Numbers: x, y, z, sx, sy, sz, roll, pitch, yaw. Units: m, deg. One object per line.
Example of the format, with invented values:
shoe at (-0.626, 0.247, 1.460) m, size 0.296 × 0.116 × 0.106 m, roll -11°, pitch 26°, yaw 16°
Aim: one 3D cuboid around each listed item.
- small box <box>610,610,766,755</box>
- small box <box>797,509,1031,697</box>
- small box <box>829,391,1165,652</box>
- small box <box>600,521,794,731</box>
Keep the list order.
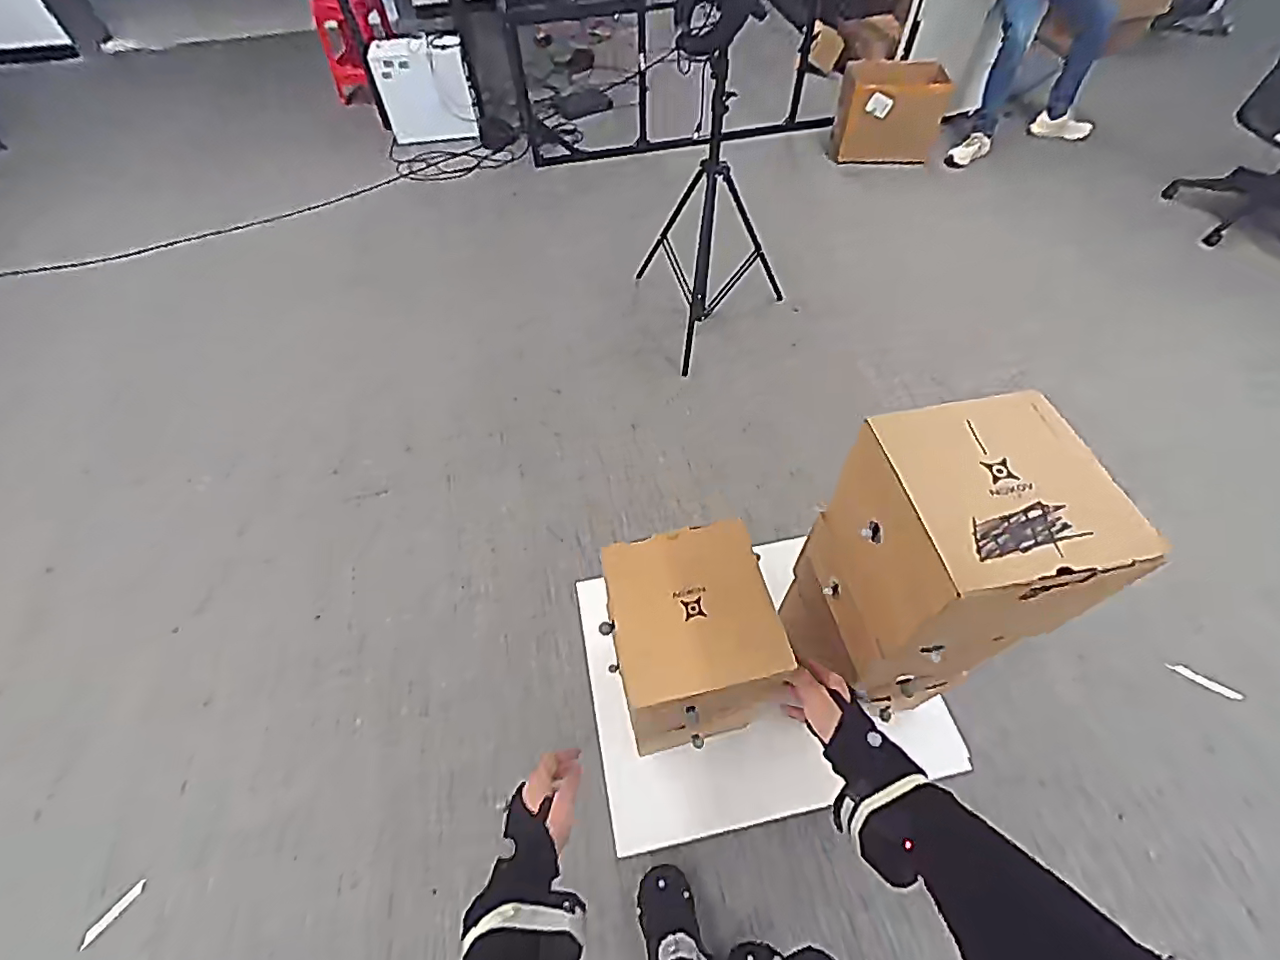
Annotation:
small box at (0.056, 0.264, 0.760) m, size 0.168 × 0.176 × 0.179 m, roll -13°, pitch 57°, yaw -7°
small box at (0.302, 0.137, 0.642) m, size 0.168 × 0.176 × 0.179 m, roll -10°, pitch 57°, yaw -4°
small box at (0.298, 0.047, 0.504) m, size 0.168 × 0.176 × 0.179 m, roll -9°, pitch 55°, yaw -3°
small box at (0.055, 0.175, 0.624) m, size 0.168 × 0.176 × 0.179 m, roll -12°, pitch 56°, yaw -7°
